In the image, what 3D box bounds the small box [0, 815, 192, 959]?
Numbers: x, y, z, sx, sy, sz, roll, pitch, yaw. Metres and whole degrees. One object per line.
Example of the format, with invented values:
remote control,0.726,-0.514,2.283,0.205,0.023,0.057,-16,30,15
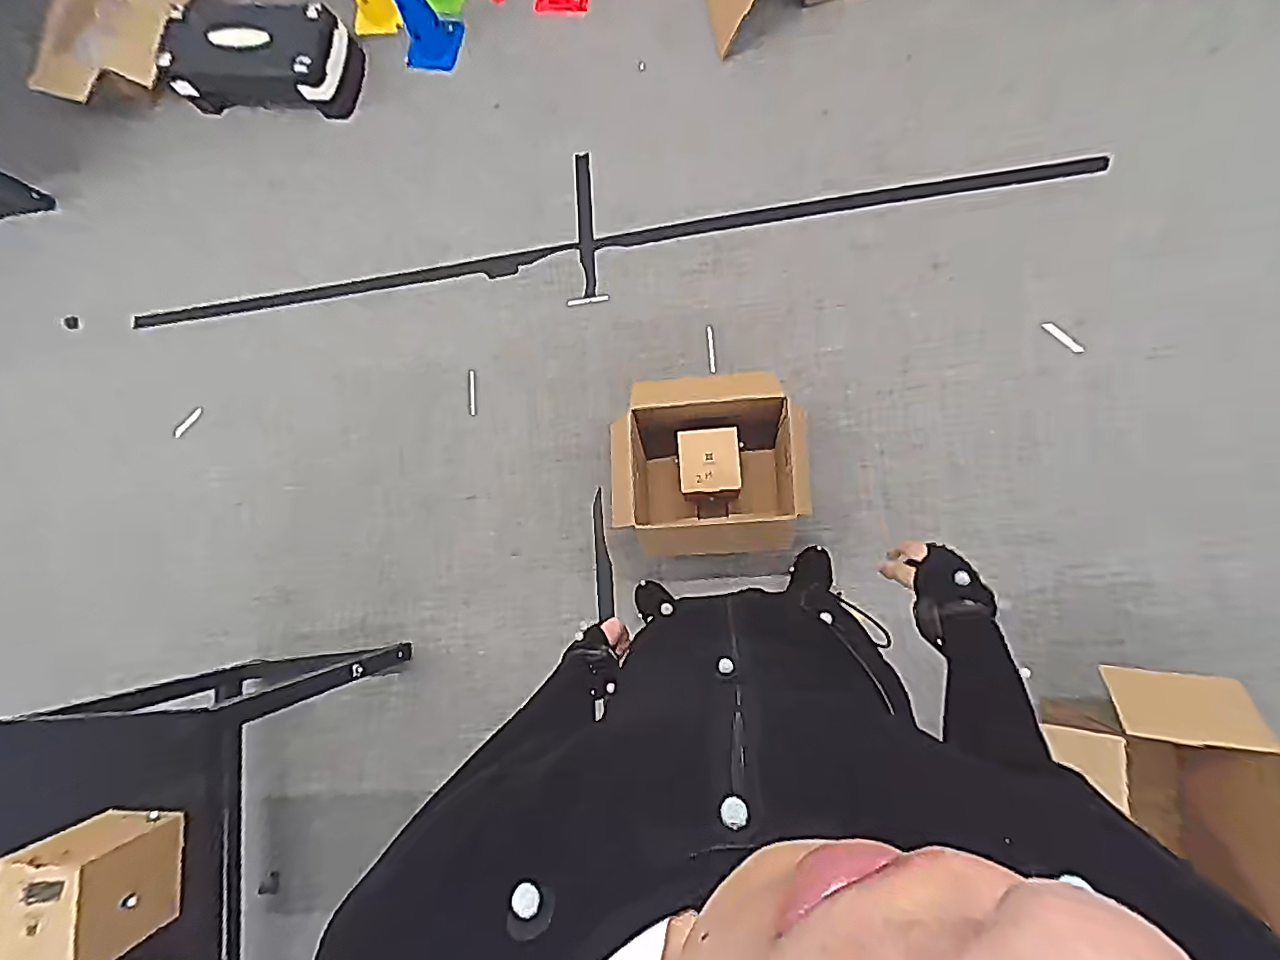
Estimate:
small box,-0.909,0.698,0.918,0.168,0.176,0.179,-4,84,9
